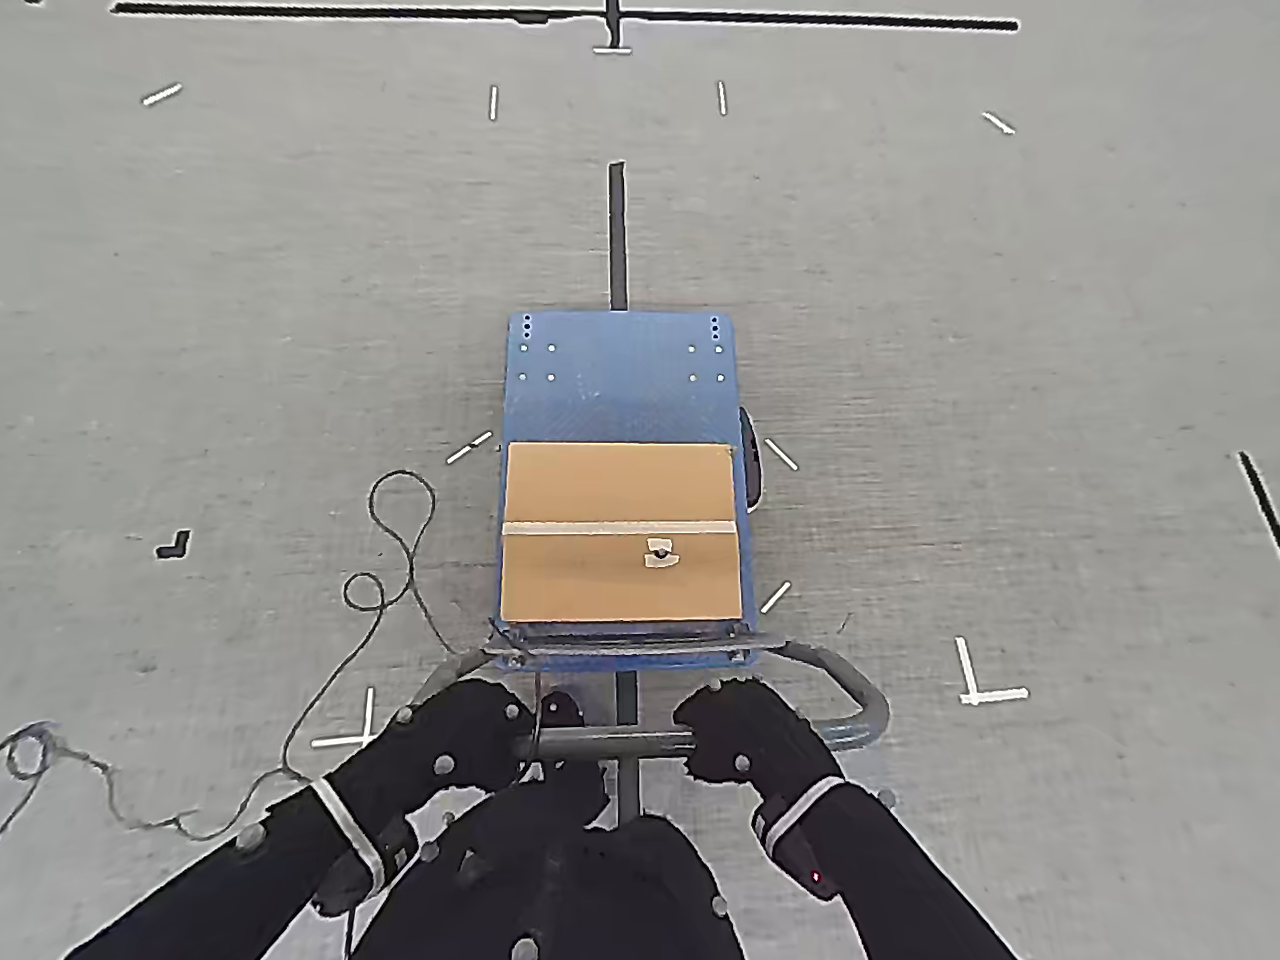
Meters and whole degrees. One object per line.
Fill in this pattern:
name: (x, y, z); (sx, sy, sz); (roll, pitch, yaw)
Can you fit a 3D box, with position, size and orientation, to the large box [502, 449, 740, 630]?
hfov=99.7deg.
large box: (-0.045, 0.133, 1.076); (0.408, 0.320, 0.320); (0, 75, -4)
